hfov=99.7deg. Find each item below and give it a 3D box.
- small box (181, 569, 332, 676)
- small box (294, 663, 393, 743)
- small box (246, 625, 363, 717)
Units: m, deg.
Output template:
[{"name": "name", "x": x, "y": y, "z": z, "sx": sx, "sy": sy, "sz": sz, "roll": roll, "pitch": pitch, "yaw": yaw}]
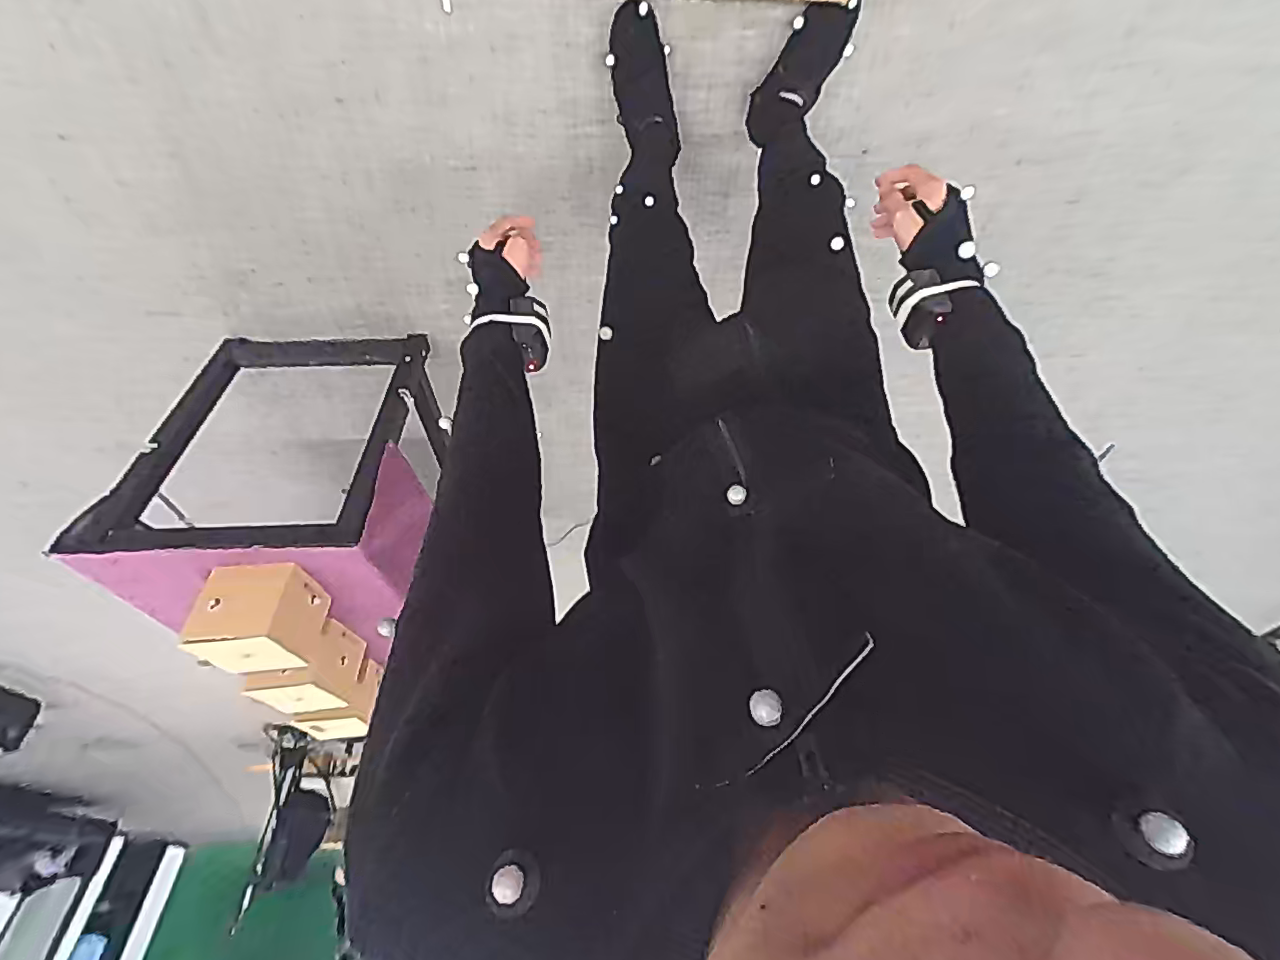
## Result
[{"name": "small box", "x": -0.799, "y": 0.302, "z": 1.149, "sx": 0.179, "sy": 0.176, "sz": 0.168, "roll": -4, "pitch": 141, "yaw": 1}, {"name": "small box", "x": -0.840, "y": 0.639, "z": 1.552, "sx": 0.179, "sy": 0.176, "sz": 0.168, "roll": -5, "pitch": 140, "yaw": 0}, {"name": "small box", "x": -0.825, "y": 0.477, "z": 1.357, "sx": 0.179, "sy": 0.176, "sz": 0.168, "roll": -7, "pitch": 140, "yaw": 5}]
